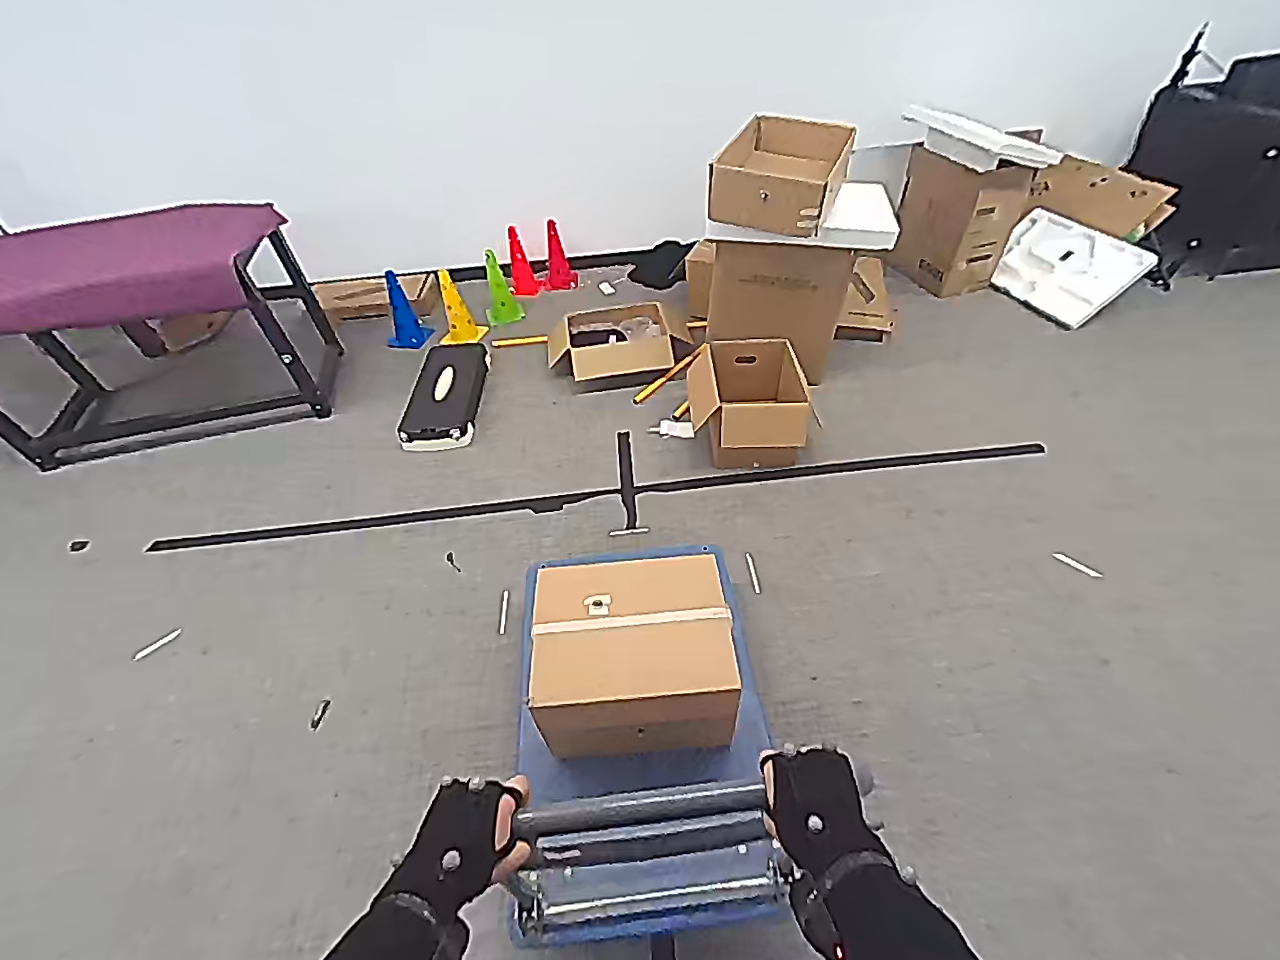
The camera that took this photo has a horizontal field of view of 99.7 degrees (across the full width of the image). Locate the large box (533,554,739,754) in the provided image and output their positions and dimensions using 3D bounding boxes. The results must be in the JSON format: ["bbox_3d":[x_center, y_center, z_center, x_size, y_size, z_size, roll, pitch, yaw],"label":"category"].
[{"bbox_3d":[-0.008,0.402,1.239,0.408,0.320,0.320,-6,45,0],"label":"large box"}]
